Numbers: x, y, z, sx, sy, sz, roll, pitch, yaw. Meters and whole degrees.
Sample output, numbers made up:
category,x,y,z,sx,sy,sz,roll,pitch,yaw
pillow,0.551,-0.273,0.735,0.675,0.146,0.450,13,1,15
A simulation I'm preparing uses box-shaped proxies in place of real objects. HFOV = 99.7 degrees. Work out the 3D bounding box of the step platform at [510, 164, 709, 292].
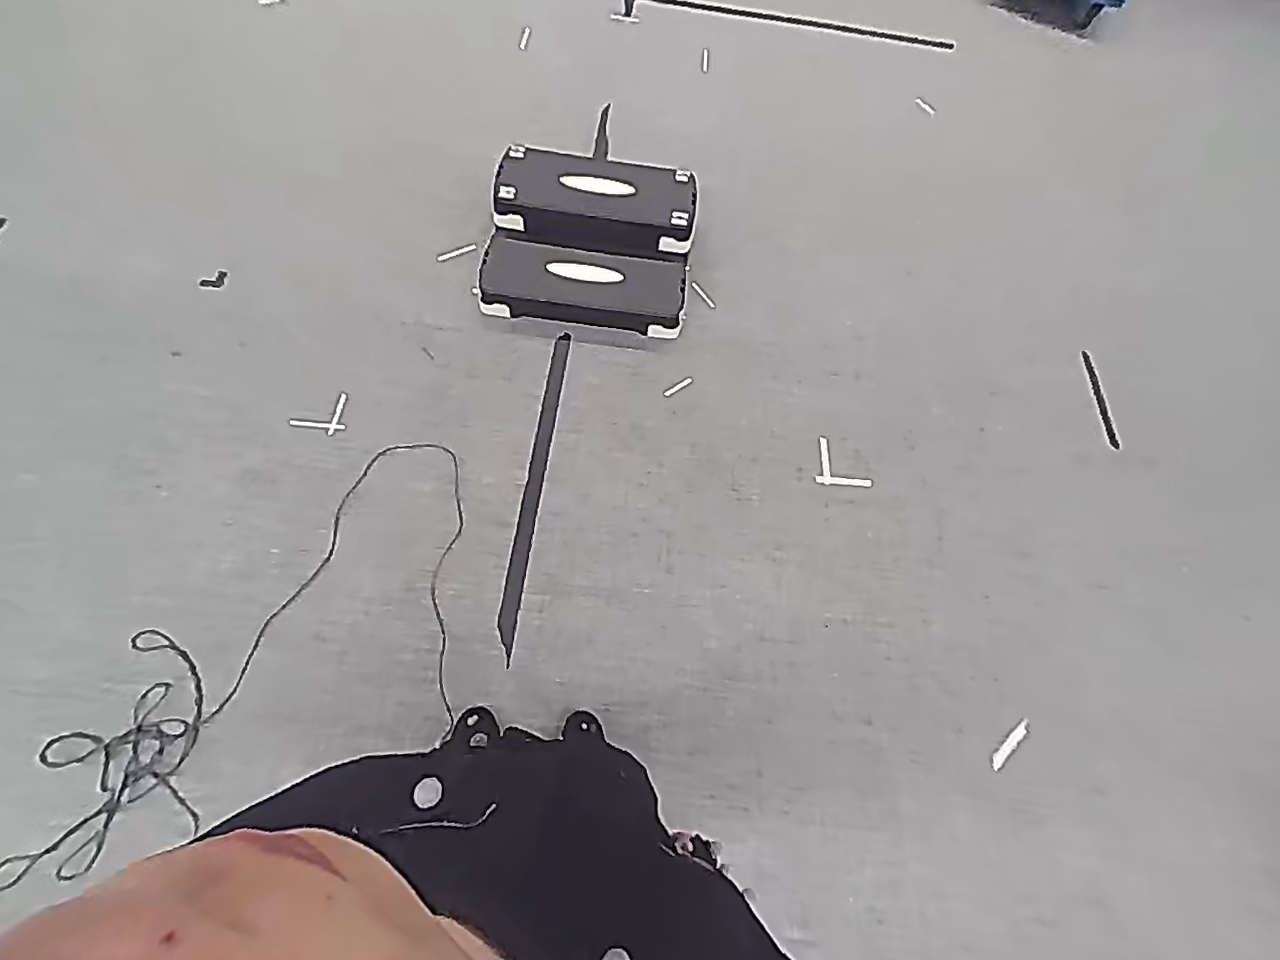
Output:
category,x,y,z,sx,sy,sz,roll,pitch,yaw
step platform,-0.101,-0.885,1.896,0.684,0.204,0.286,11,65,0
